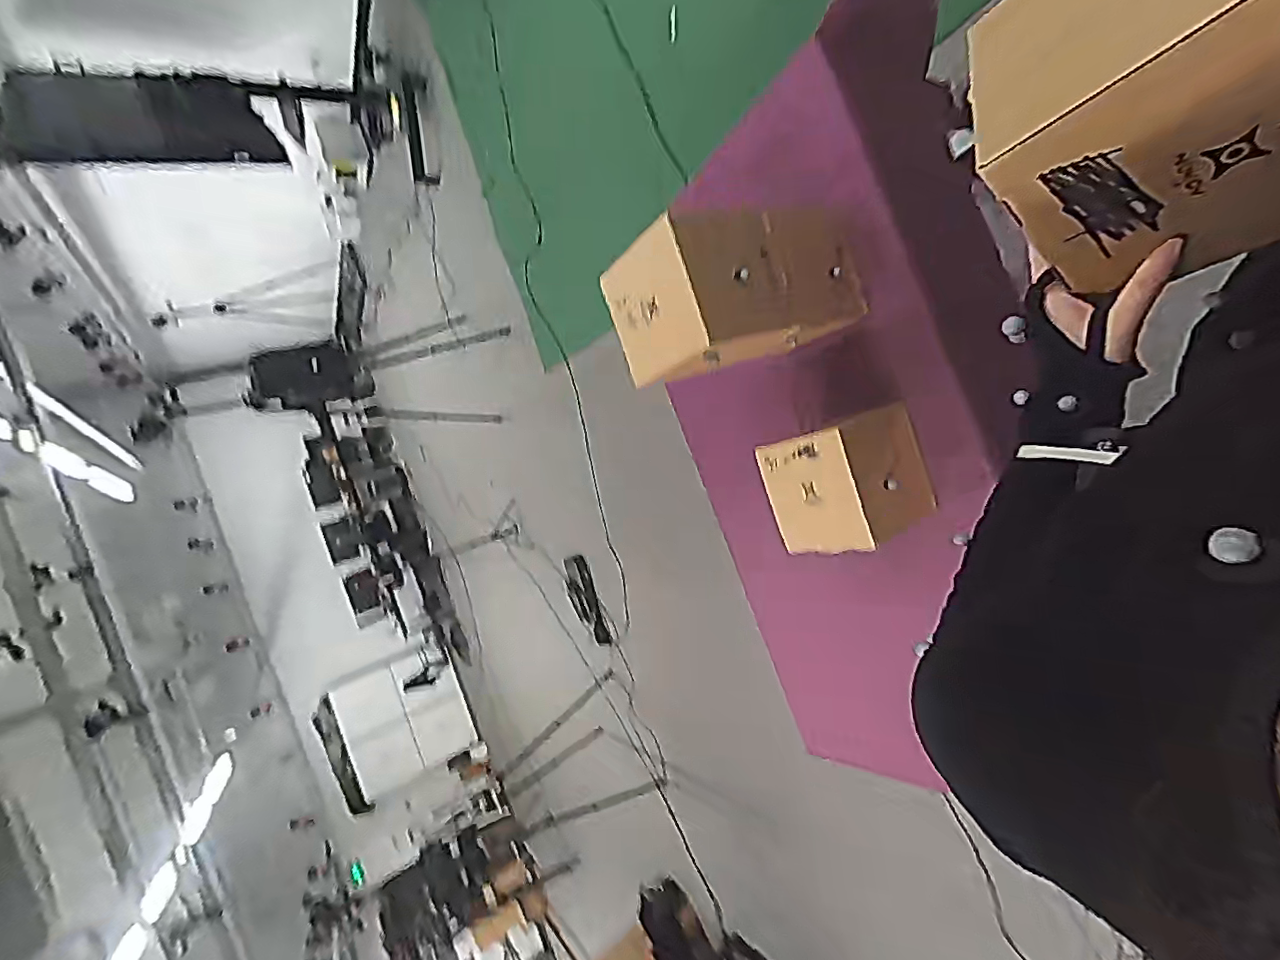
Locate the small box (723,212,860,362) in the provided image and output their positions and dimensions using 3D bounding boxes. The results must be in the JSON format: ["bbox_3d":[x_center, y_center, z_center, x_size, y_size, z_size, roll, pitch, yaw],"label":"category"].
[{"bbox_3d":[0.207,-0.296,0.848,0.179,0.176,0.168,-14,95,56],"label":"small box"}]

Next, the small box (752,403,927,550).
[{"bbox_3d":[0.313,-0.003,0.843,0.168,0.176,0.179,-16,94,57],"label":"small box"}]

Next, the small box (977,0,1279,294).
[{"bbox_3d":[0.342,-0.264,0.343,0.179,0.168,0.176,-21,48,50],"label":"small box"}]

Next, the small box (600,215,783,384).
[{"bbox_3d":[0.077,-0.251,0.757,0.179,0.176,0.168,-16,93,57],"label":"small box"}]
